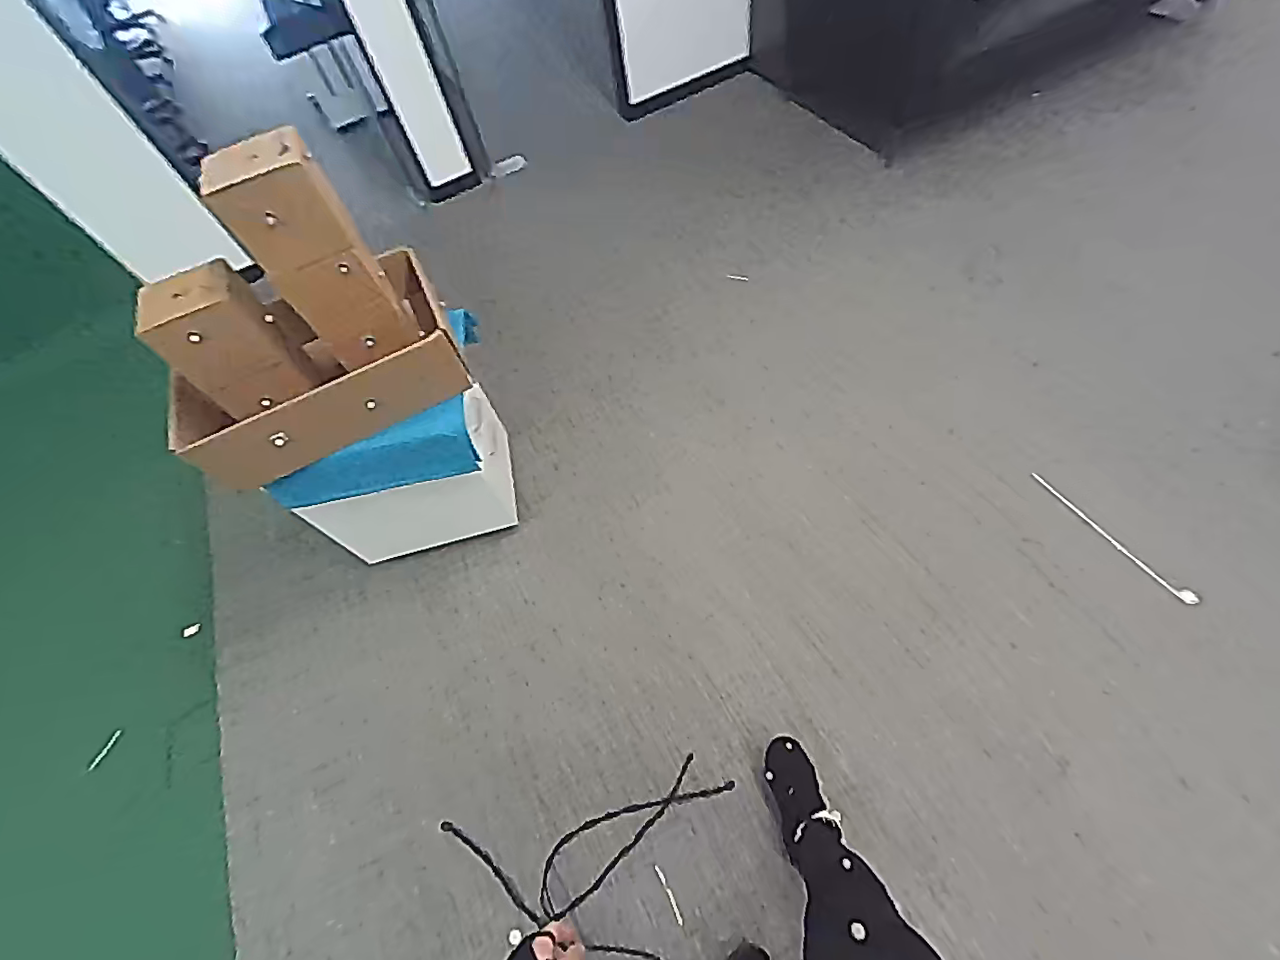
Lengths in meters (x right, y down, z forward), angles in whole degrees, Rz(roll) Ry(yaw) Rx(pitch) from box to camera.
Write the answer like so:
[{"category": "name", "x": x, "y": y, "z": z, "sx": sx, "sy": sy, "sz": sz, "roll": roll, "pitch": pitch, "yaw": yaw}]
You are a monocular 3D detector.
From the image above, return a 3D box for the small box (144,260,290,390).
[{"category": "small box", "x": -0.881, "y": -0.321, "z": 1.138, "sx": 0.179, "sy": 0.176, "sz": 0.168, "roll": -26, "pitch": 57, "yaw": -8}]

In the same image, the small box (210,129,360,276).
[{"category": "small box", "x": -0.676, "y": -0.528, "z": 1.041, "sx": 0.179, "sy": 0.176, "sz": 0.168, "roll": -26, "pitch": 58, "yaw": -6}]
